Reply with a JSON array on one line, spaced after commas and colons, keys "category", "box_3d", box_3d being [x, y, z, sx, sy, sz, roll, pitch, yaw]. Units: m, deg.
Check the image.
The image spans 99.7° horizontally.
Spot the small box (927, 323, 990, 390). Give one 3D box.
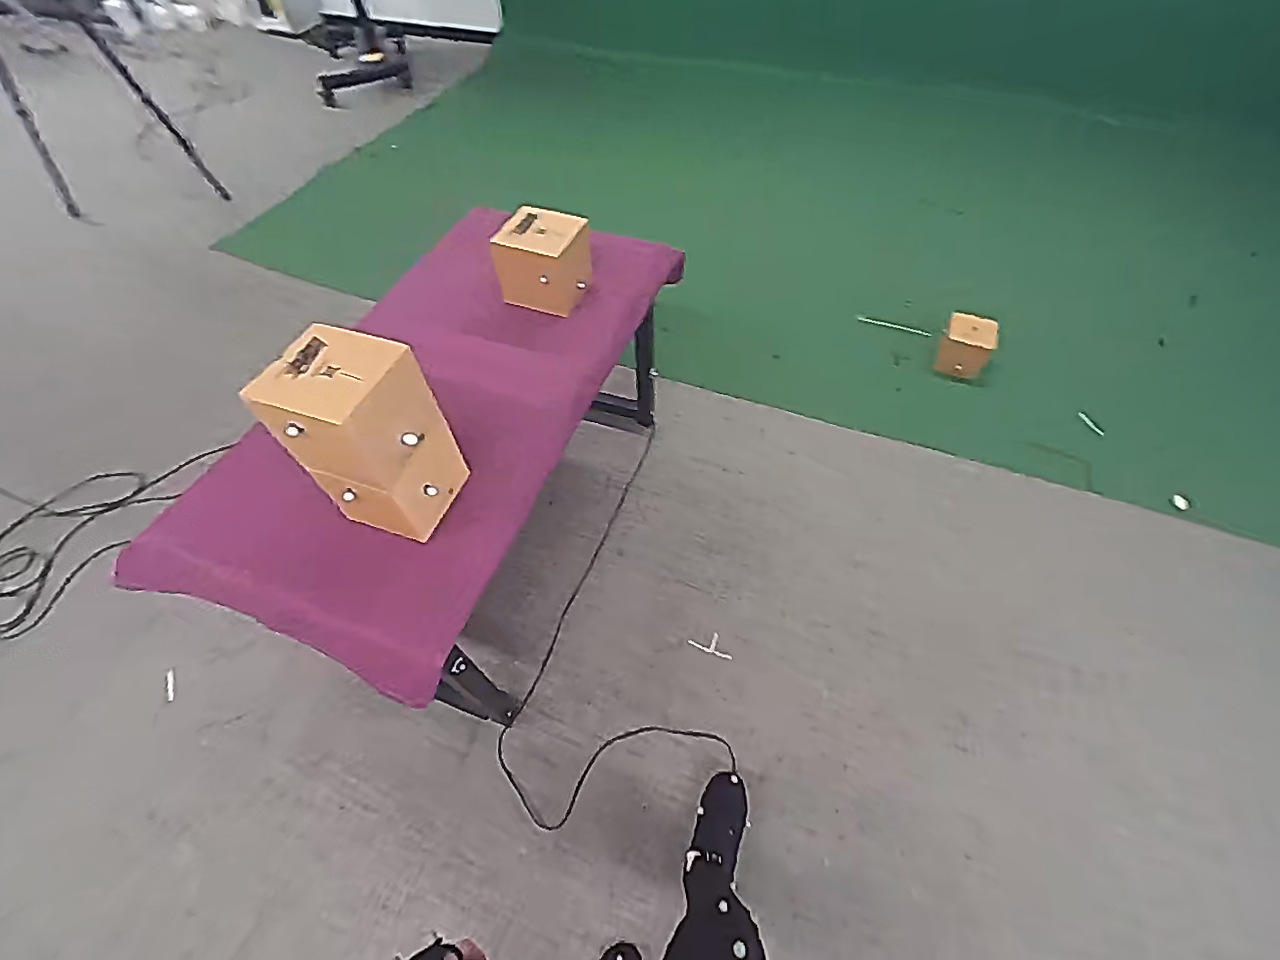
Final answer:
[{"category": "small box", "box_3d": [1.286, -0.500, 2.189, 0.168, 0.176, 0.179, 20, 57, 14]}]

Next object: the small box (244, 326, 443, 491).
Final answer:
[{"category": "small box", "box_3d": [-0.441, -0.106, 0.838, 0.179, 0.176, 0.168, 16, 57, 12]}]

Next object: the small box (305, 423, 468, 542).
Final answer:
[{"category": "small box", "box_3d": [-0.437, -0.009, 0.971, 0.179, 0.176, 0.168, 15, 56, 12]}]
